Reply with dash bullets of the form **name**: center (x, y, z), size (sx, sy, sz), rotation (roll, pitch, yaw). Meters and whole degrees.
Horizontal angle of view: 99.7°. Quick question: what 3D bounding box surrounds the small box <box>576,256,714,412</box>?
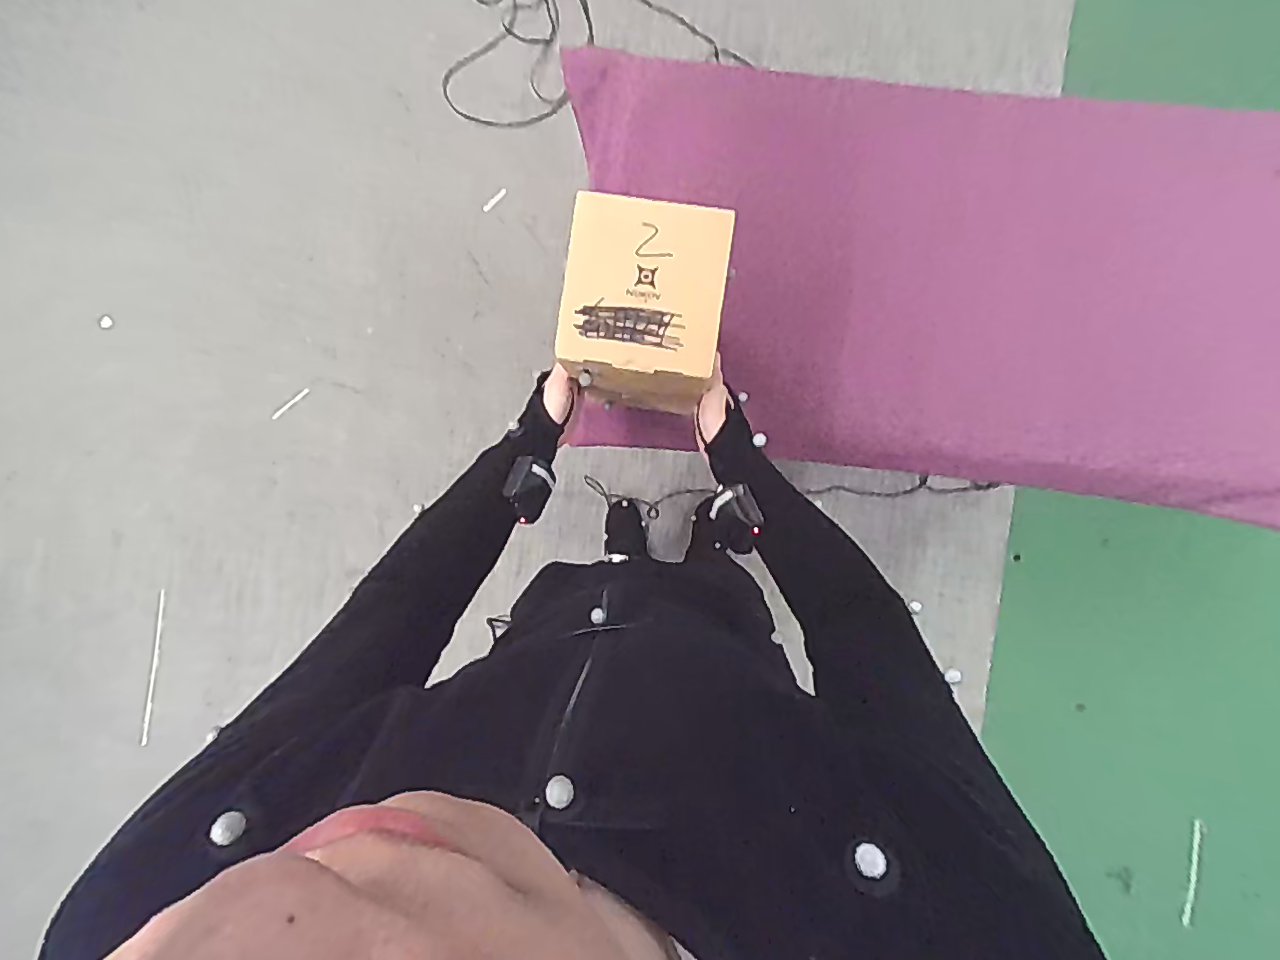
- **small box**: center (0.009, -0.202, 0.795), size (0.168, 0.176, 0.179), rotation (8, 90, 1)
